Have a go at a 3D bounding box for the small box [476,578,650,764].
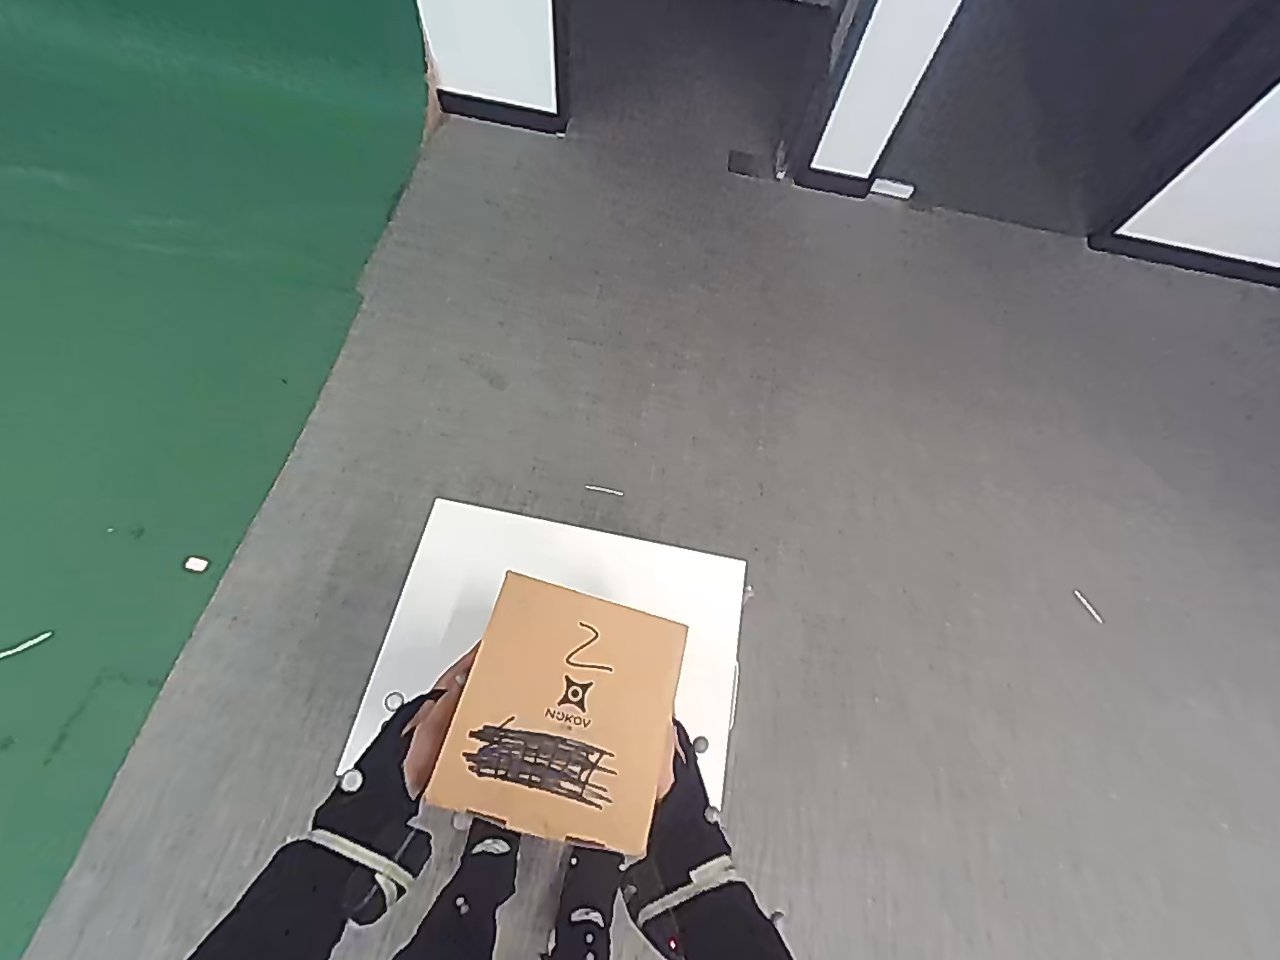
[{"bbox_3d":[-0.093,0.247,0.697,0.168,0.176,0.179,14,66,0],"label":"small box"}]
